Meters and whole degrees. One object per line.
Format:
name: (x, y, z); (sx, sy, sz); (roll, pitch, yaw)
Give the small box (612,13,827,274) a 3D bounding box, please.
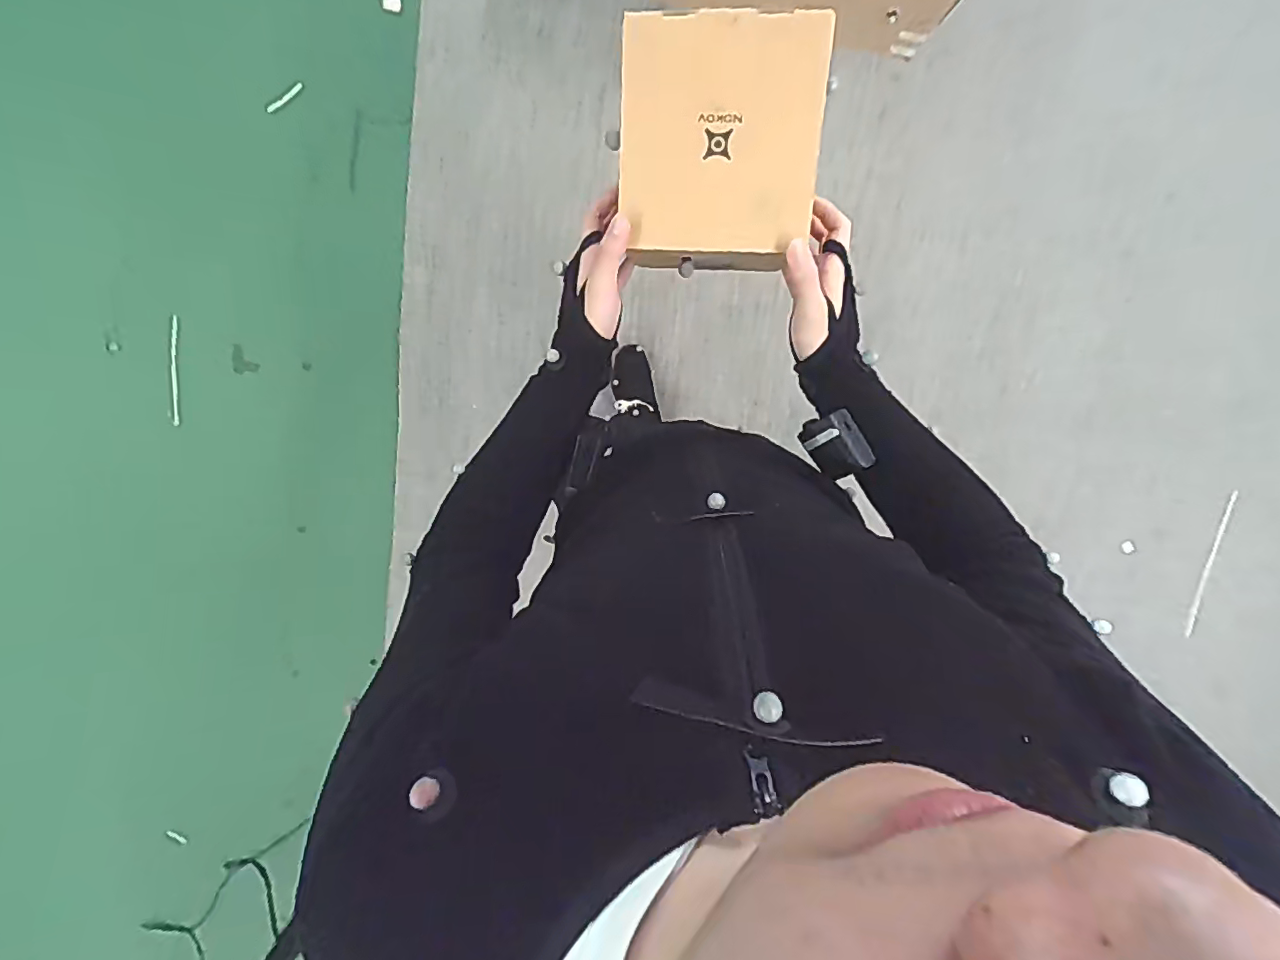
small box: (0.070, -0.300, 0.521); (0.168, 0.176, 0.179); (4, 104, 5)
